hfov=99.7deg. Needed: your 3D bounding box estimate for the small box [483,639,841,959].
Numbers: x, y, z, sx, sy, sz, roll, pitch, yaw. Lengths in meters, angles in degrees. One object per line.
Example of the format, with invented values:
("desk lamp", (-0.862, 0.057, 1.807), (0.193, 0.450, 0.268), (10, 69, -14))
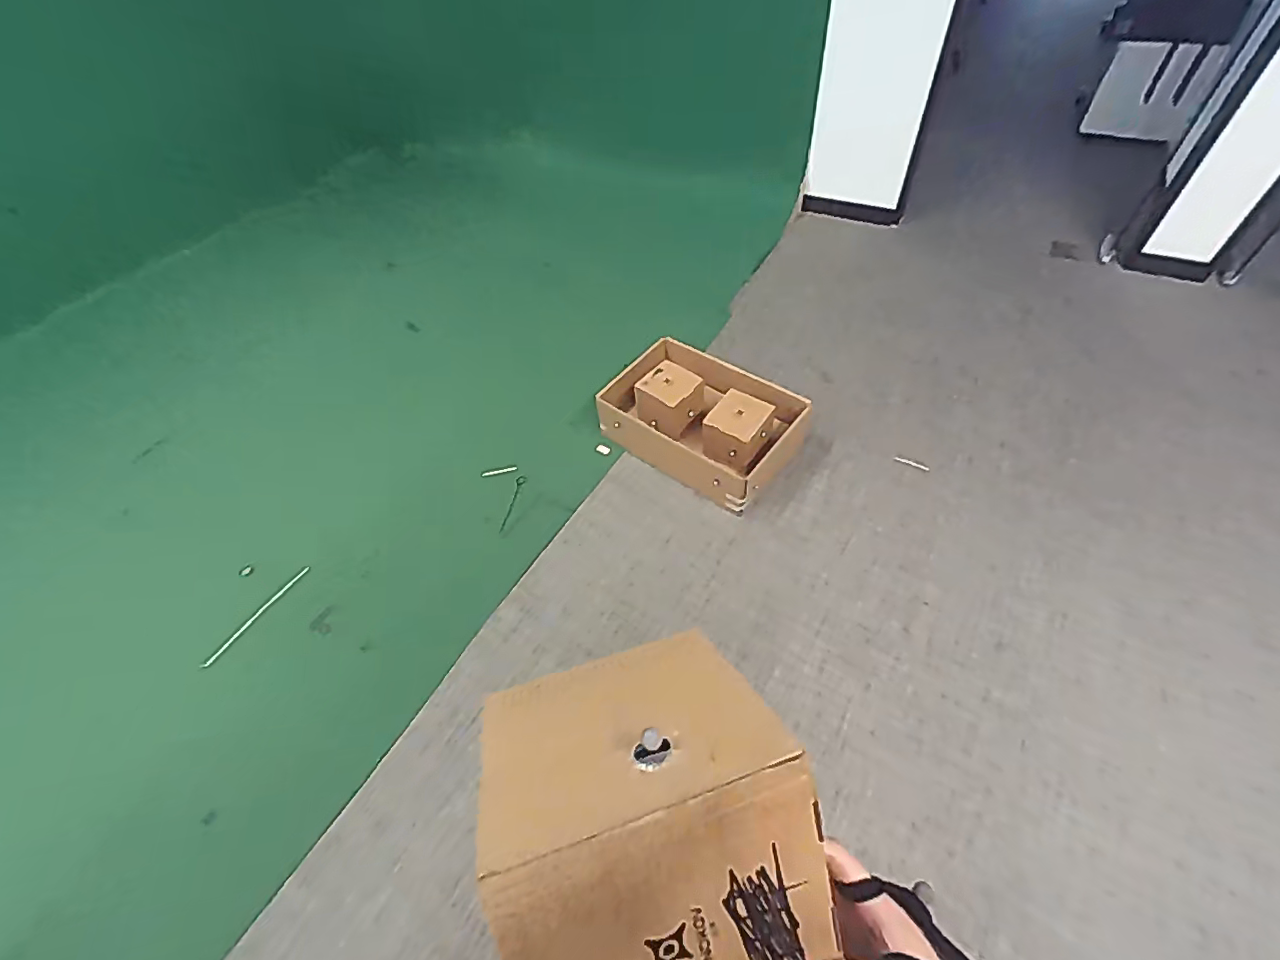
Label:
("small box", (0.003, 0.230, 0.358), (0.179, 0.168, 0.176), (-14, 11, -11))
